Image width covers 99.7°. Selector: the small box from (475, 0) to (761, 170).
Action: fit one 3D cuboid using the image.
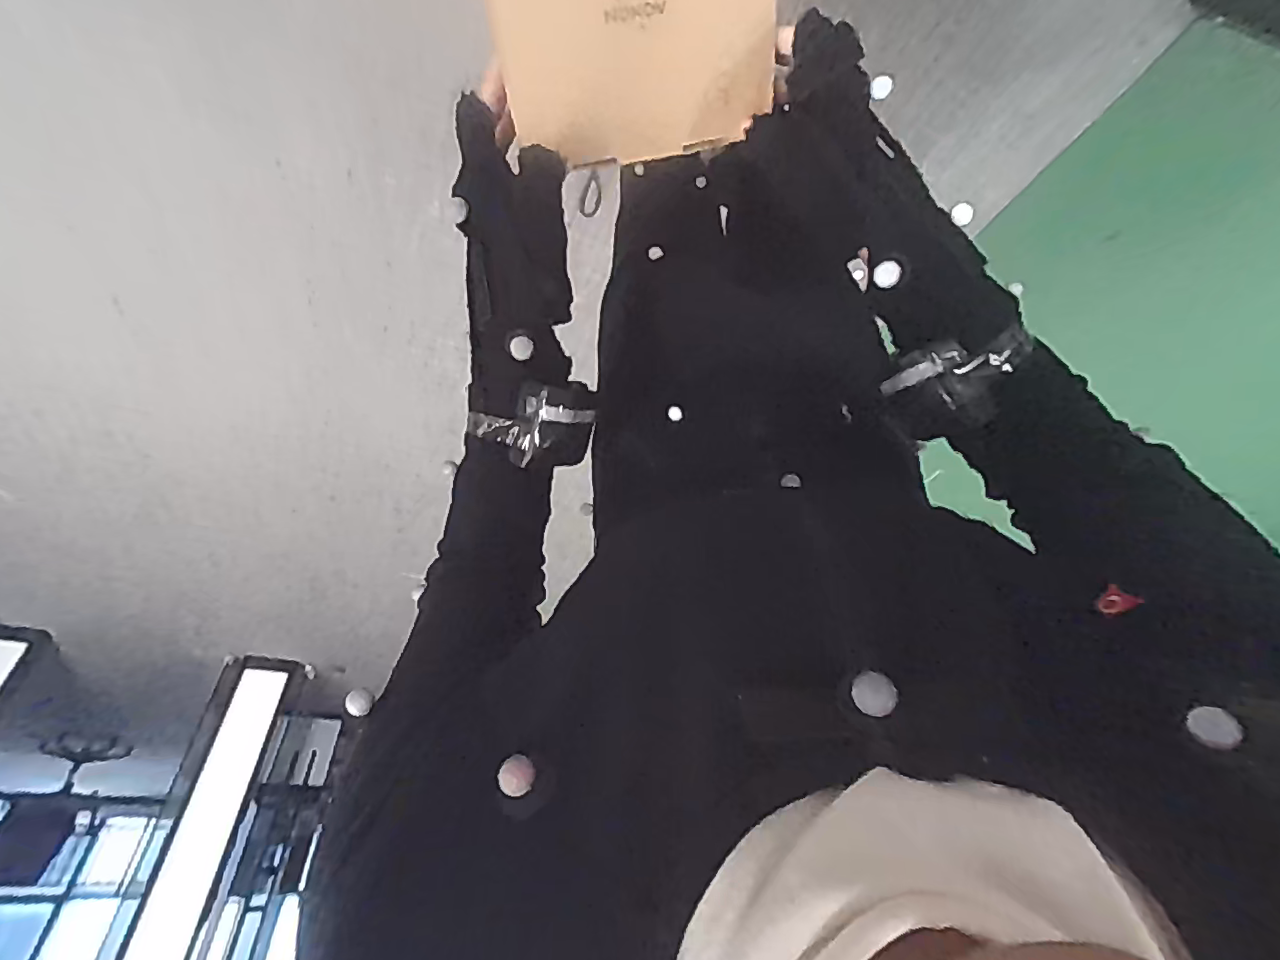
[{"bbox_3d":[-0.024,-0.334,0.359,0.168,0.176,0.179,-13,131,-3],"label":"small box"}]
